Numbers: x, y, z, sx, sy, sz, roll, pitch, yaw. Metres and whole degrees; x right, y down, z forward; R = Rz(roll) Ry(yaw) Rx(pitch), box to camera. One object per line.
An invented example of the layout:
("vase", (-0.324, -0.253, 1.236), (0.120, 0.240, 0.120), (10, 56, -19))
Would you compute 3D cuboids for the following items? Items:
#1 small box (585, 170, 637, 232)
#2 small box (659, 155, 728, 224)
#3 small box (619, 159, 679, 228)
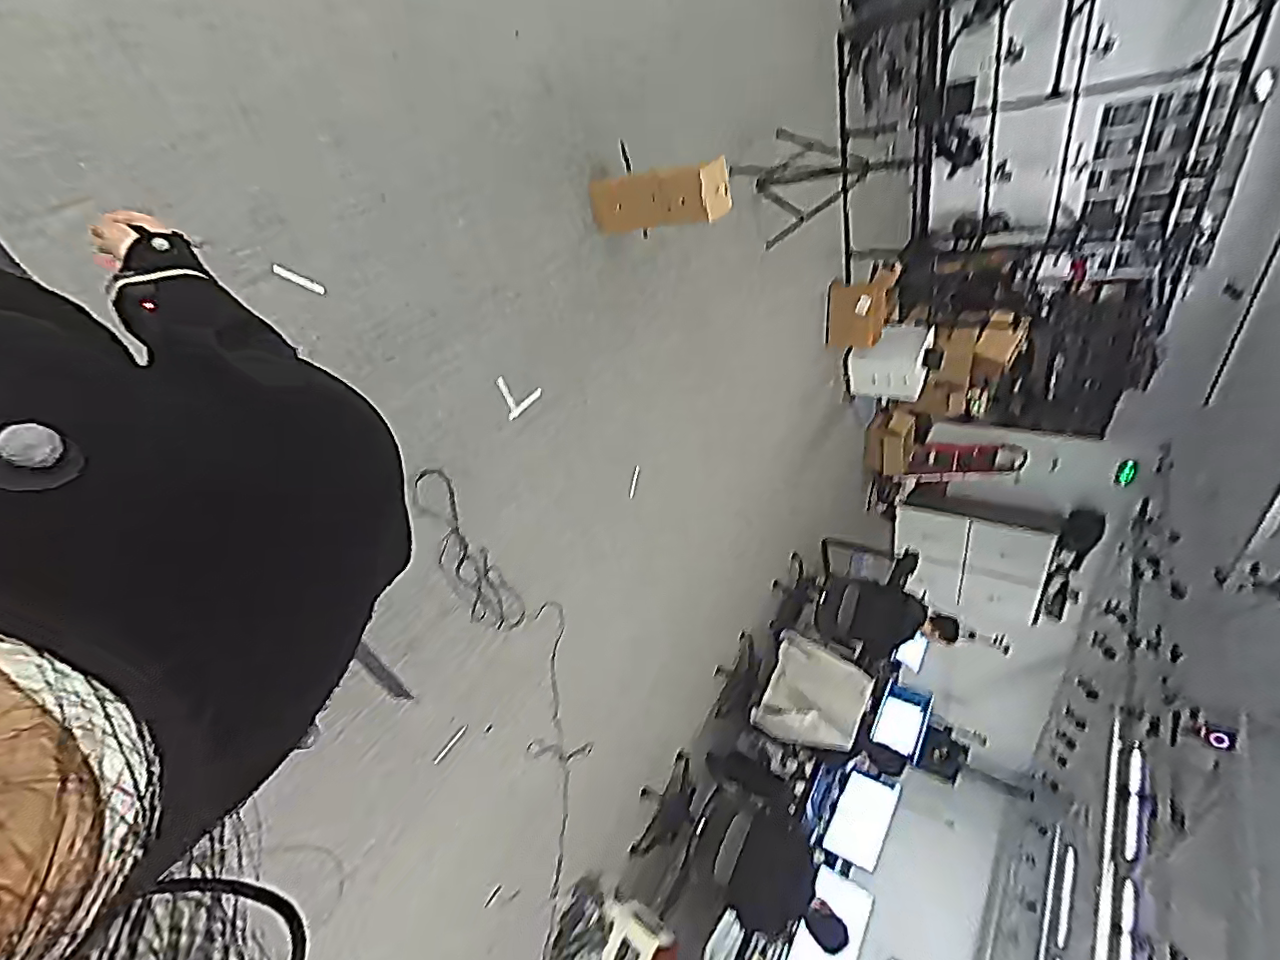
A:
("small box", (-0.080, -1.068, 2.074), (0.168, 0.176, 0.179), (-49, 135, -34))
("small box", (0.181, -1.009, 1.884), (0.179, 0.176, 0.168), (-47, 134, -34))
("small box", (0.047, -1.043, 1.973), (0.168, 0.176, 0.179), (-46, 134, -35))
